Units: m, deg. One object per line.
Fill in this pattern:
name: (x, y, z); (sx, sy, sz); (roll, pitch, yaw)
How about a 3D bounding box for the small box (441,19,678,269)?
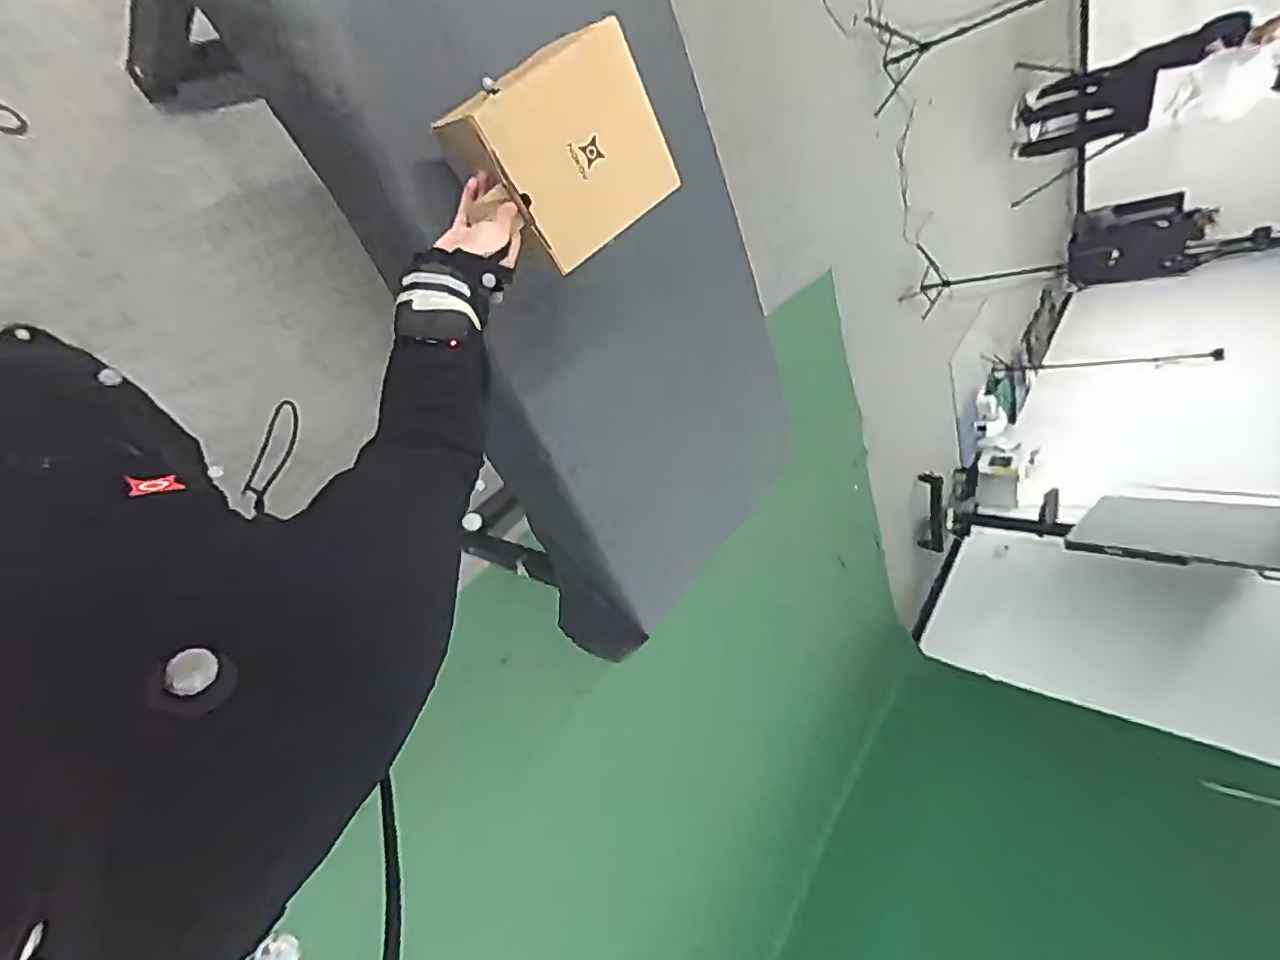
small box: (-0.093, -0.370, 0.613); (0.179, 0.176, 0.168); (-42, 130, -9)
